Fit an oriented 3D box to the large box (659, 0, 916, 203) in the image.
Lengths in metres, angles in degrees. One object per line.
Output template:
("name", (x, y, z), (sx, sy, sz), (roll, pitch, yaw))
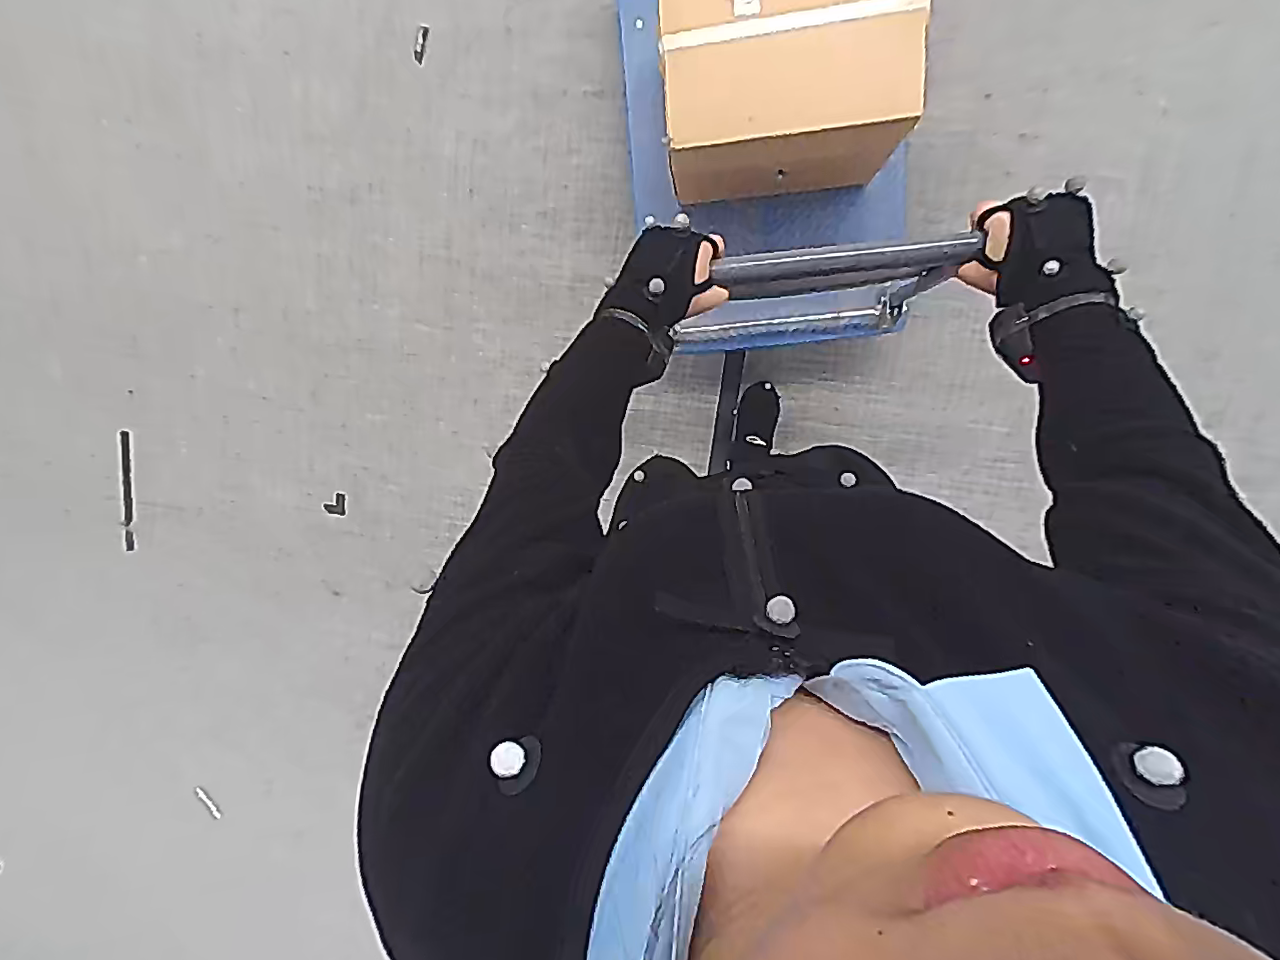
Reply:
("large box", (0.257, -0.751, 1.016), (0.408, 0.320, 0.320), (-3, 99, 9))
